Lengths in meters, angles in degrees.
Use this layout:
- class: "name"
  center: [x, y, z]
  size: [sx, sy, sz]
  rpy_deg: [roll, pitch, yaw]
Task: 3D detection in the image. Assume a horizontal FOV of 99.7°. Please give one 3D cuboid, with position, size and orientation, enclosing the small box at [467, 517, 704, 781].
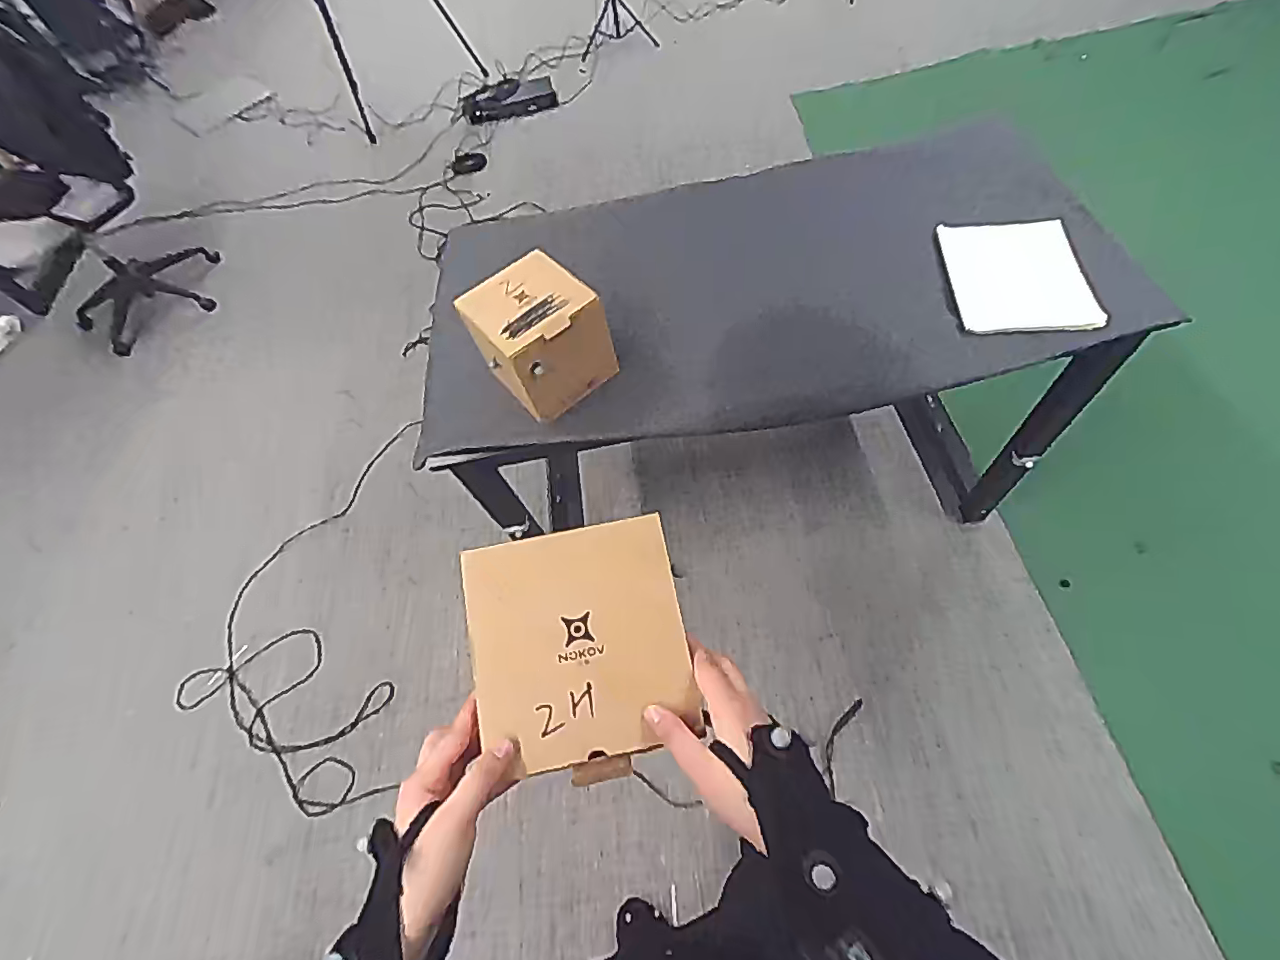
- class: "small box"
  center: [-0.047, 0.150, 0.498]
  size: [0.168, 0.176, 0.179]
  rpy_deg: [-11, 73, -3]
